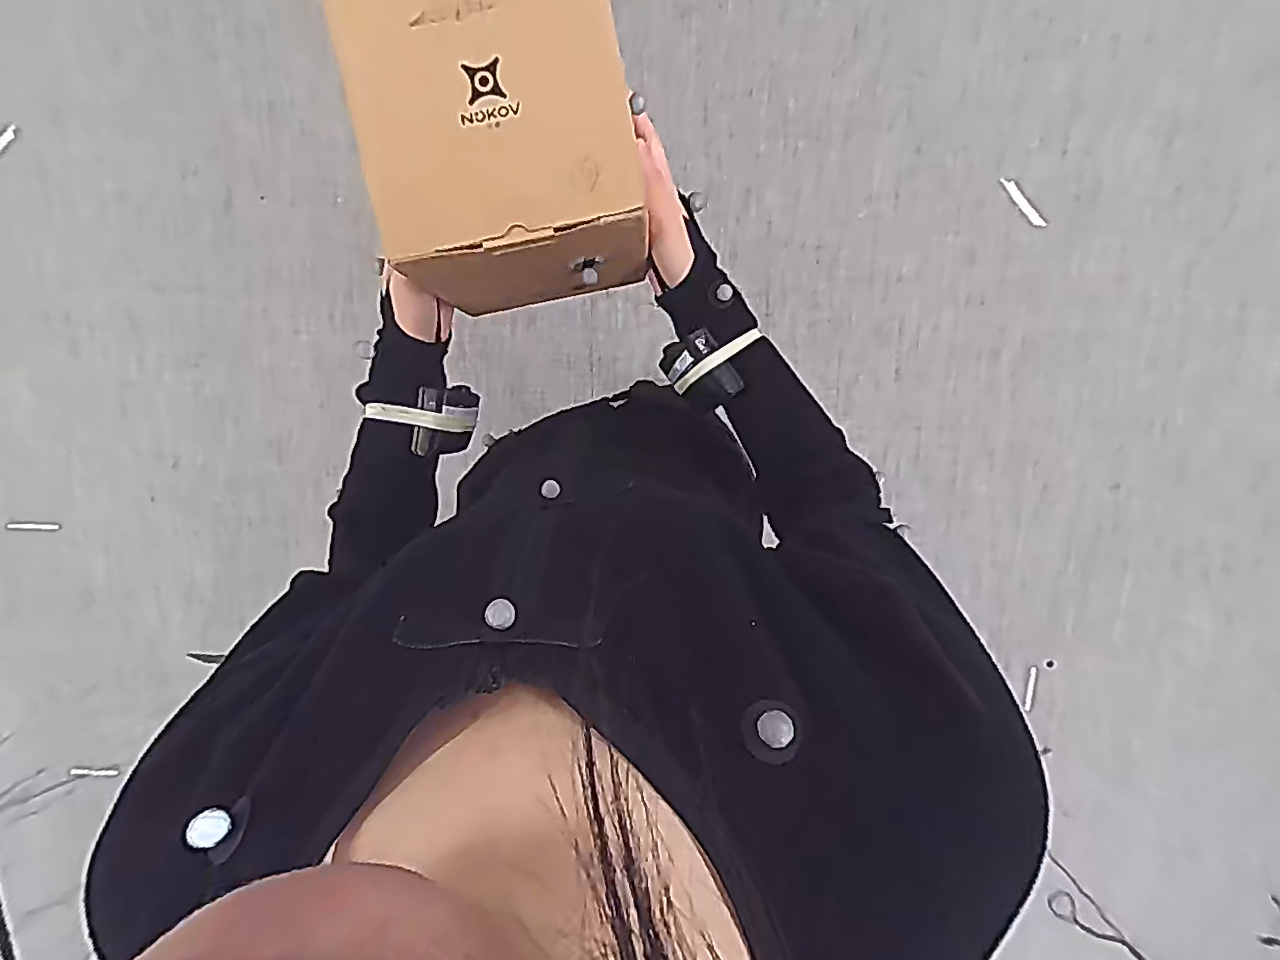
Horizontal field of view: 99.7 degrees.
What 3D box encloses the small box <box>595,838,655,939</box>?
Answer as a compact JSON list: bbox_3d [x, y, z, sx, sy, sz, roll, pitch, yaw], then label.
[{"bbox_3d":[-0.043,1.225,1.627,0.168,0.176,0.179,3,102,1],"label":"small box"}]
